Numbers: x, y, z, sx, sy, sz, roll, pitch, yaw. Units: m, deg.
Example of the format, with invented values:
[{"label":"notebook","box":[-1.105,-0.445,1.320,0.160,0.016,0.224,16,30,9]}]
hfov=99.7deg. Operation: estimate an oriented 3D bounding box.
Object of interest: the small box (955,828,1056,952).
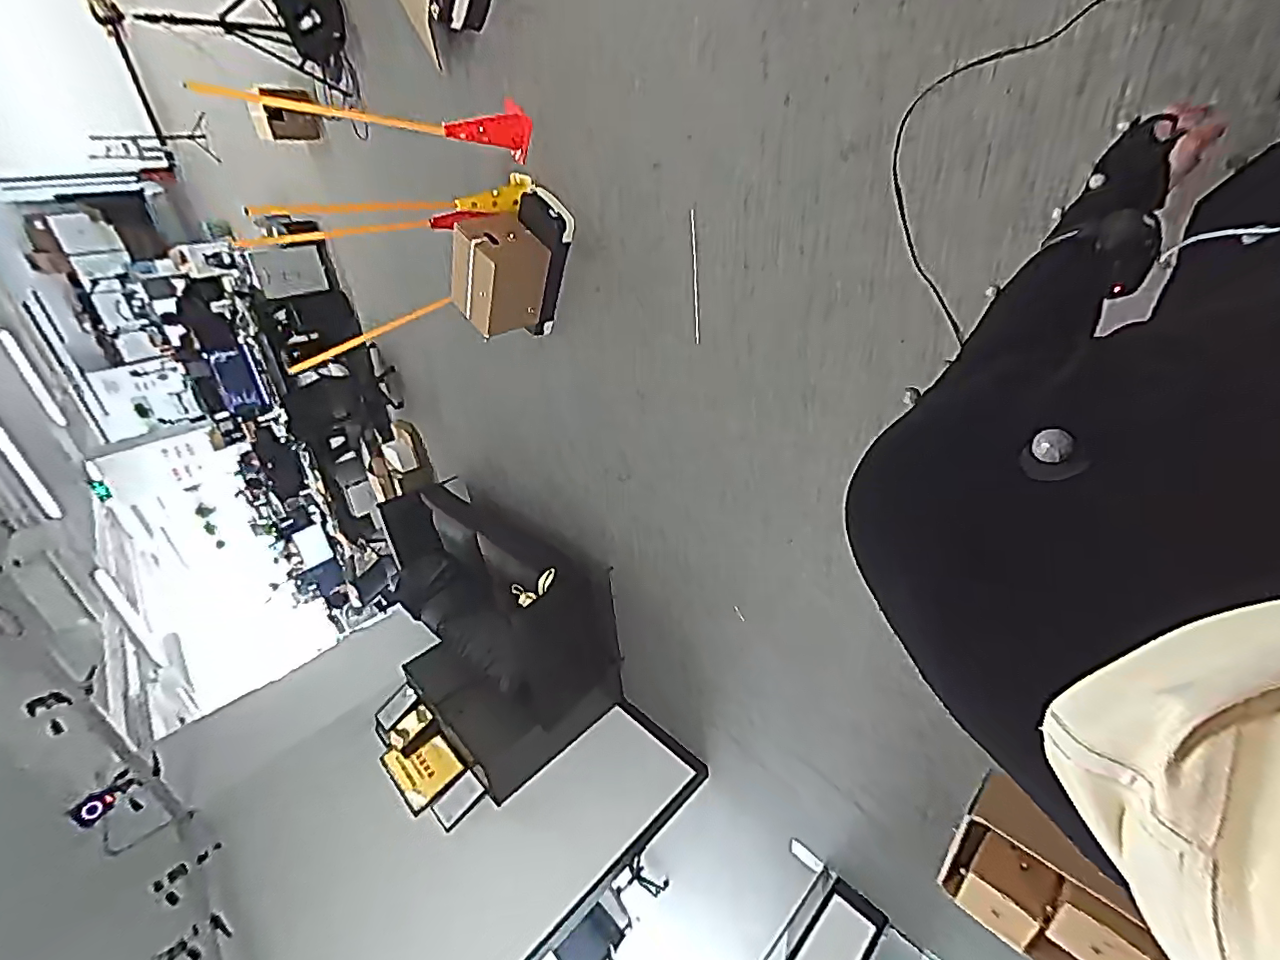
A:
[{"label":"small box","box":[0.994,1.107,1.469,0.168,0.176,0.179,26,130,40]}]
